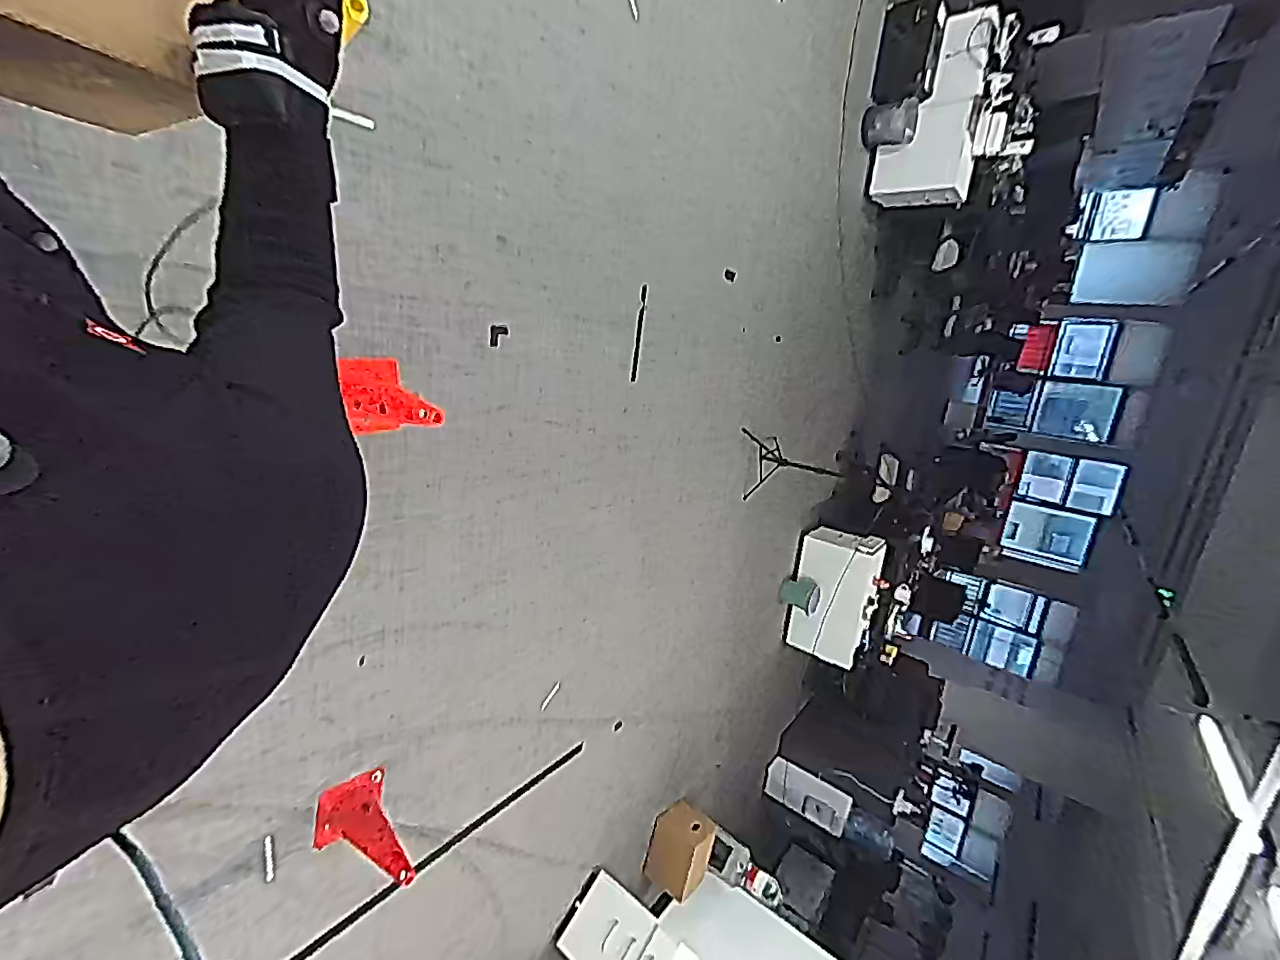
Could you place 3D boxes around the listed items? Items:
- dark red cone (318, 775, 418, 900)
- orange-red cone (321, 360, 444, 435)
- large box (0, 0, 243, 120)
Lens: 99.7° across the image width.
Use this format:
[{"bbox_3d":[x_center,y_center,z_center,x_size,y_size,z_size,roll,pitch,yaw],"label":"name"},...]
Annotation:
[{"bbox_3d":[-0.771,1.080,1.593,0.201,0.394,0.202,-2,105,-52],"label":"dark red cone"},{"bbox_3d":[-0.610,-0.187,1.351,0.198,0.360,0.199,-16,114,-51],"label":"orange-red cone"},{"bbox_3d":[-0.508,-0.455,0.289,0.408,0.320,0.320,-9,115,-53],"label":"large box"}]
